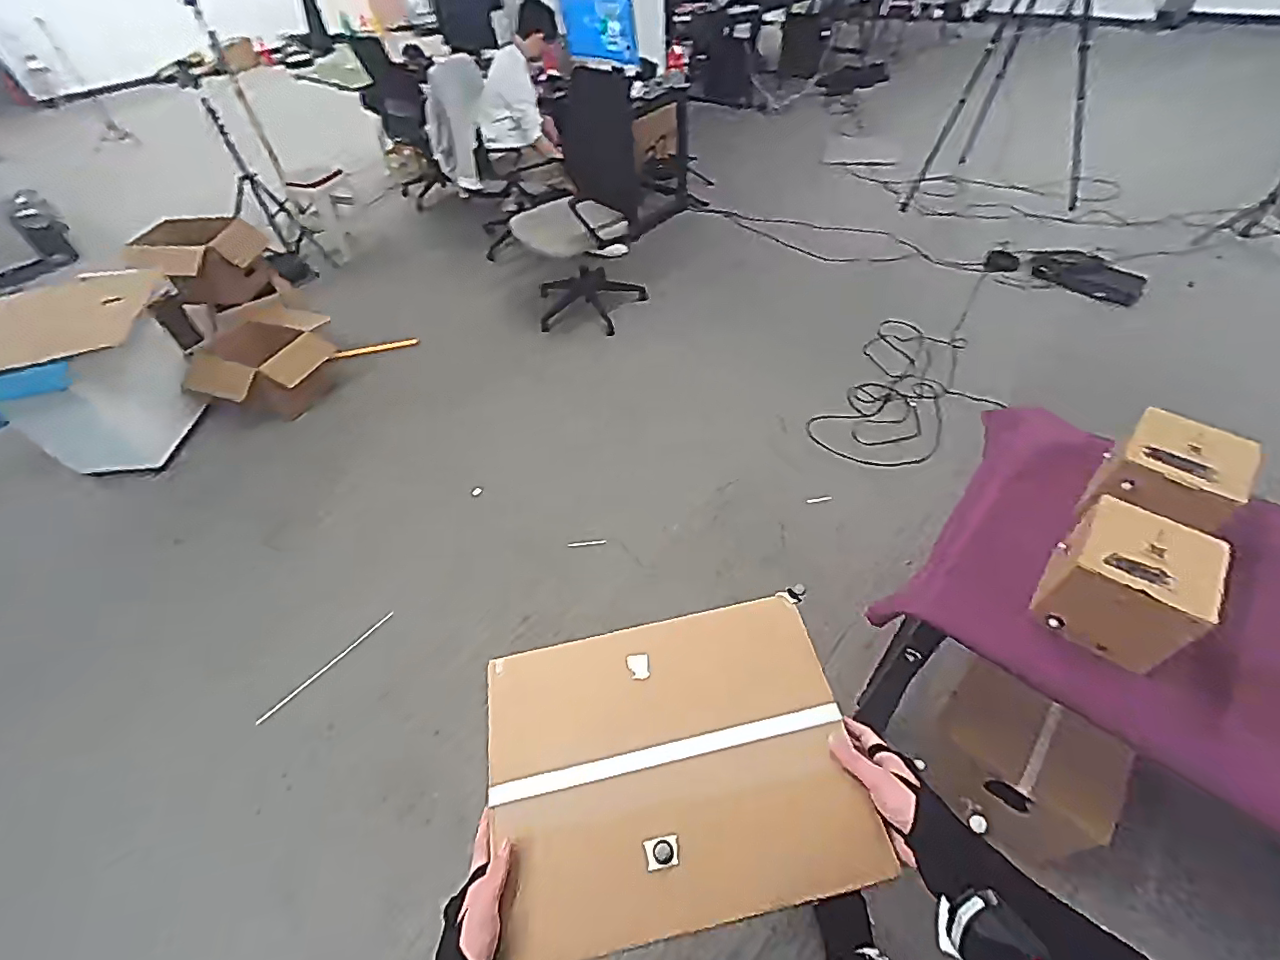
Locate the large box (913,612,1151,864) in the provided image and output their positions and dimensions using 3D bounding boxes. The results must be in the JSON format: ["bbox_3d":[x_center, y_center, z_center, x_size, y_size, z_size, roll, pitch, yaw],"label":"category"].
[{"bbox_3d":[0.934,0.618,1.318,0.320,0.320,0.408,32,57,28],"label":"large box"}]

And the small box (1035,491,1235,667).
[{"bbox_3d":[0.766,0.158,0.854,0.168,0.176,0.179,31,56,28],"label":"small box"}]
